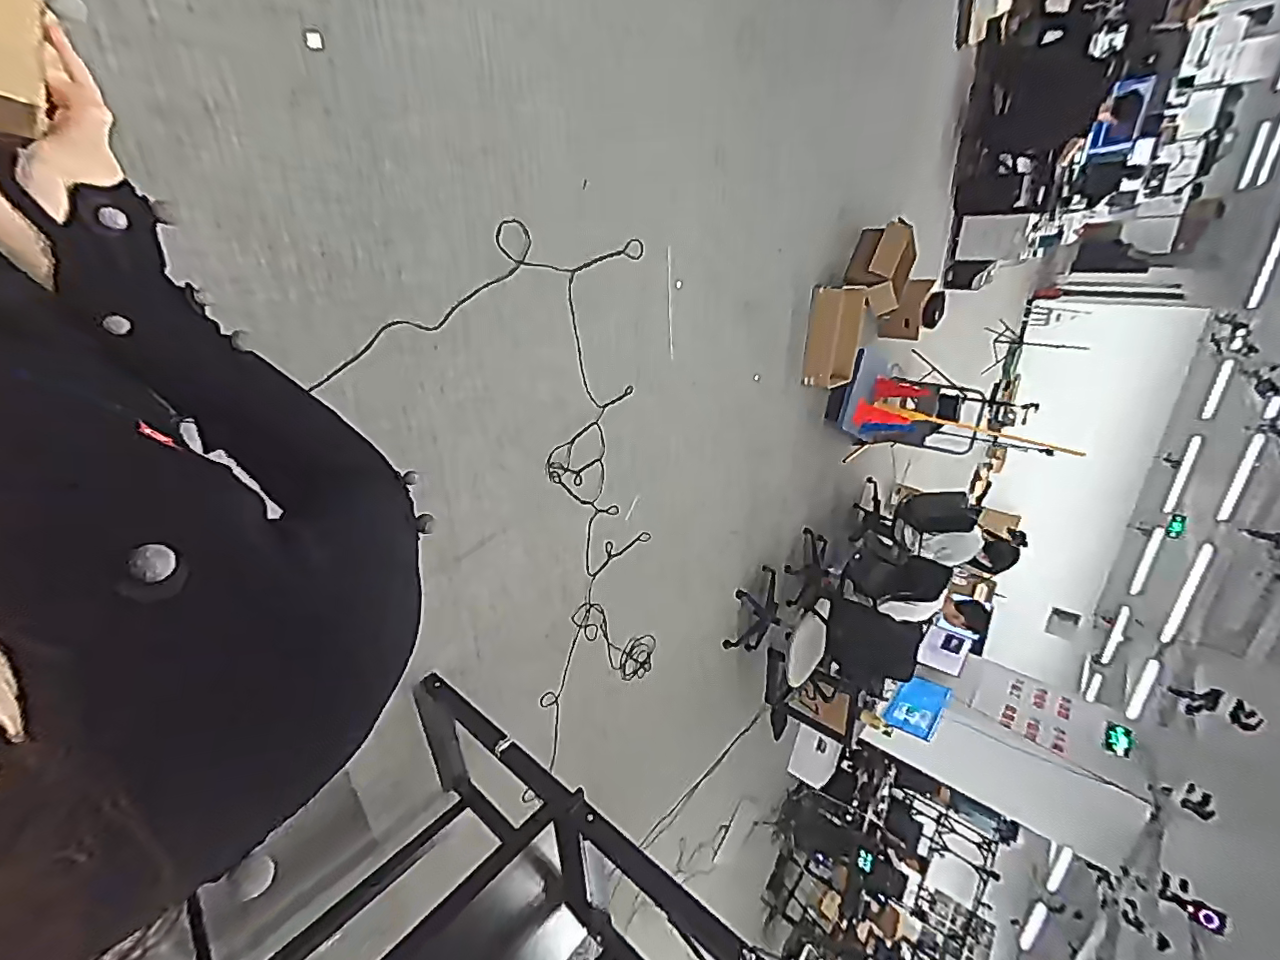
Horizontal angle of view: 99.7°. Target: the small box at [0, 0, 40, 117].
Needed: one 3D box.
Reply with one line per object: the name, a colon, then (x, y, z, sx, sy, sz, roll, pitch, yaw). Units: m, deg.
small box: (-0.359, -0.270, 0.205, 0.179, 0.176, 0.168, 0, 106, -50)
